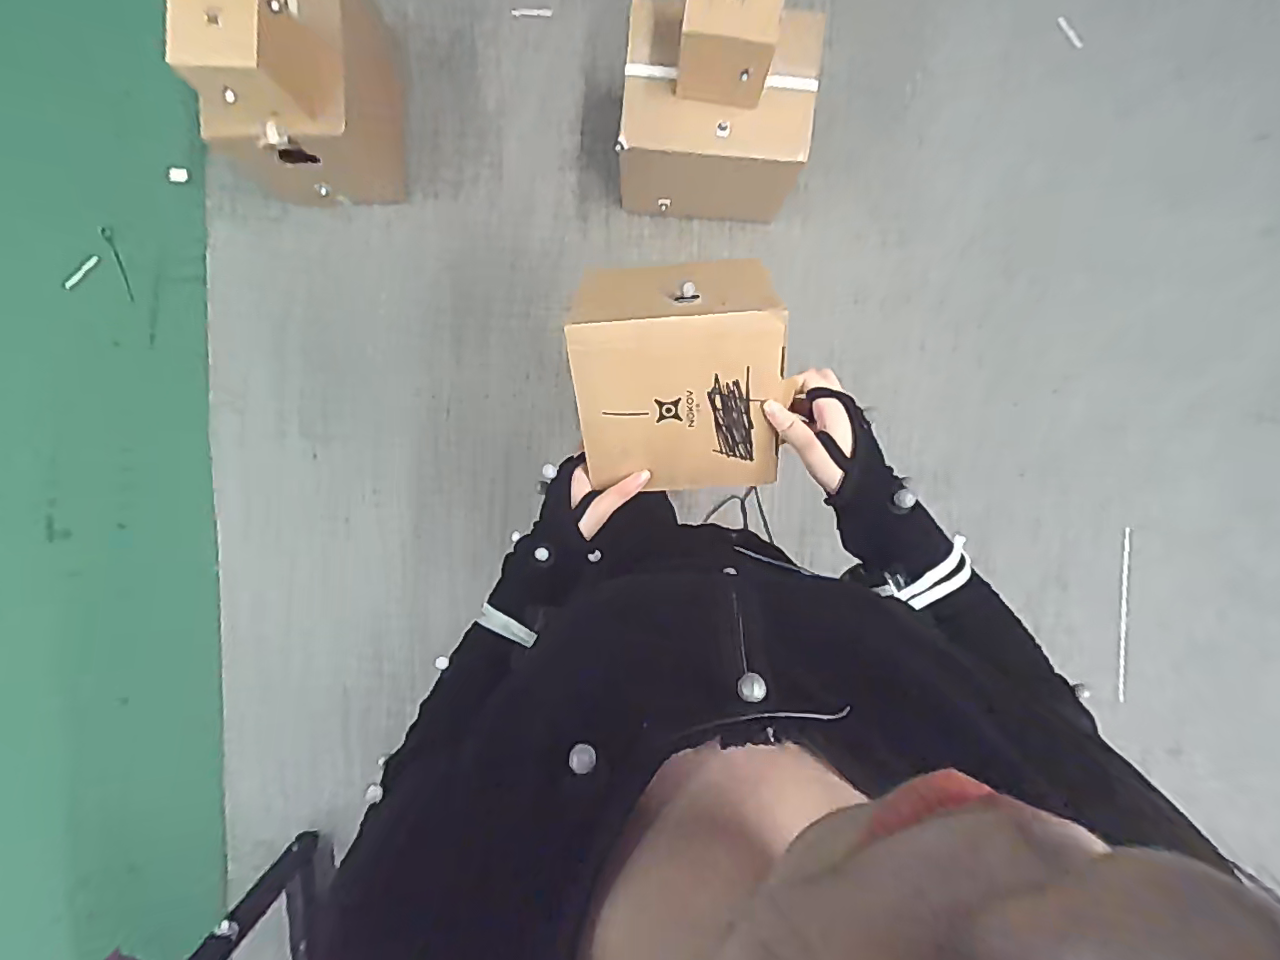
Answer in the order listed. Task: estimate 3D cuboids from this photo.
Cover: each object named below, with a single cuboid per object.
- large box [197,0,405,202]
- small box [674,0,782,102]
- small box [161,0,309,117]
[{"bbox_3d":[-0.783,-0.937,1.283,0.320,0.320,0.408,-1,92,0],"label":"large box"},{"bbox_3d":[0.167,-0.869,1.039,0.179,0.176,0.168,9,90,0],"label":"small box"},{"bbox_3d":[-0.768,-0.839,1.042,0.168,0.176,0.179,2,92,-1],"label":"small box"}]
